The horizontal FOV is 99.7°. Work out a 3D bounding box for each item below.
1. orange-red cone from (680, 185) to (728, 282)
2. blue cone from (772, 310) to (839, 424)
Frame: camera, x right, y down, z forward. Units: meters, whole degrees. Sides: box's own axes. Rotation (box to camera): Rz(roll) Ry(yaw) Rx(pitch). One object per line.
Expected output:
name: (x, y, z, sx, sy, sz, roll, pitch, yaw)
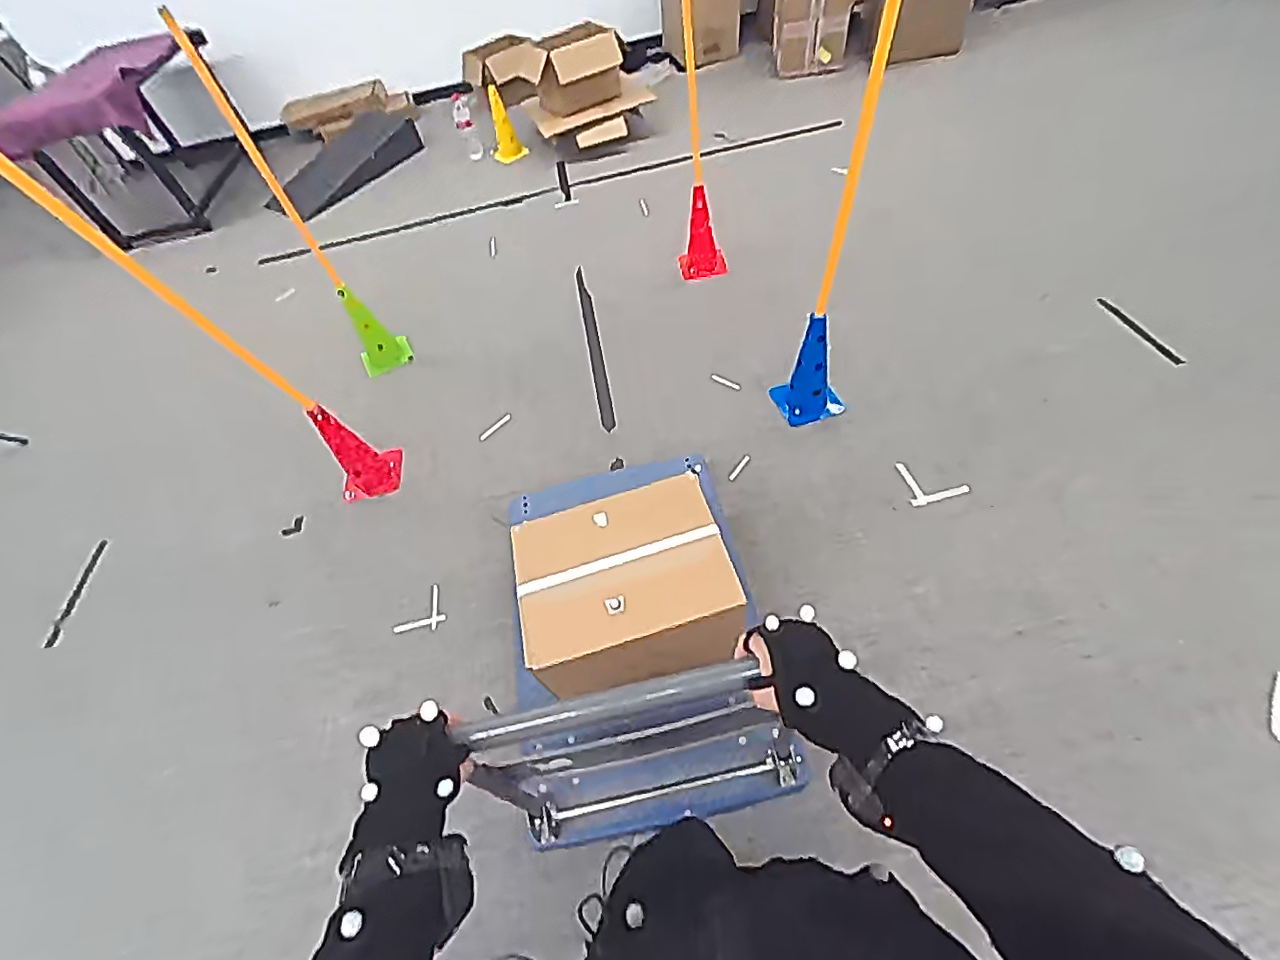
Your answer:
orange-red cone: (0.262, -1.053, 2.273, 0.199, 0.360, 0.198, -7, 54, 3)
blue cone: (0.550, -0.372, 1.740, 0.193, 0.380, 0.192, -16, 52, -3)
